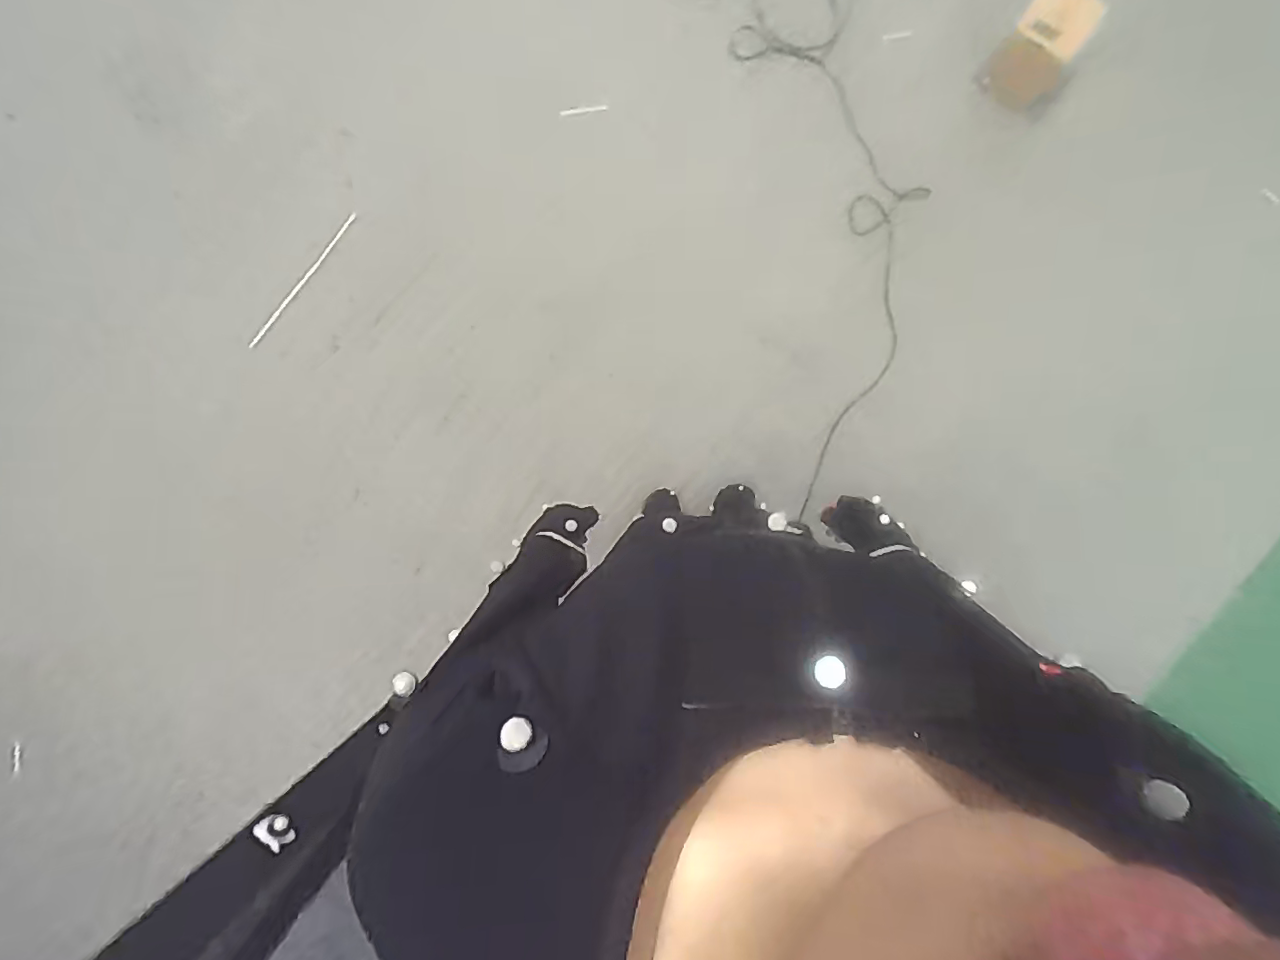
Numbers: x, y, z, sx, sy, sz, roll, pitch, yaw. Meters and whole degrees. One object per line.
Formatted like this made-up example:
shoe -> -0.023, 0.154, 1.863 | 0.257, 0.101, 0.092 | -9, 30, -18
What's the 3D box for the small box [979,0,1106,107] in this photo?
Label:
small box -> 1.021, -1.123, 1.394 | 0.168, 0.176, 0.179 | 36, 90, 1
